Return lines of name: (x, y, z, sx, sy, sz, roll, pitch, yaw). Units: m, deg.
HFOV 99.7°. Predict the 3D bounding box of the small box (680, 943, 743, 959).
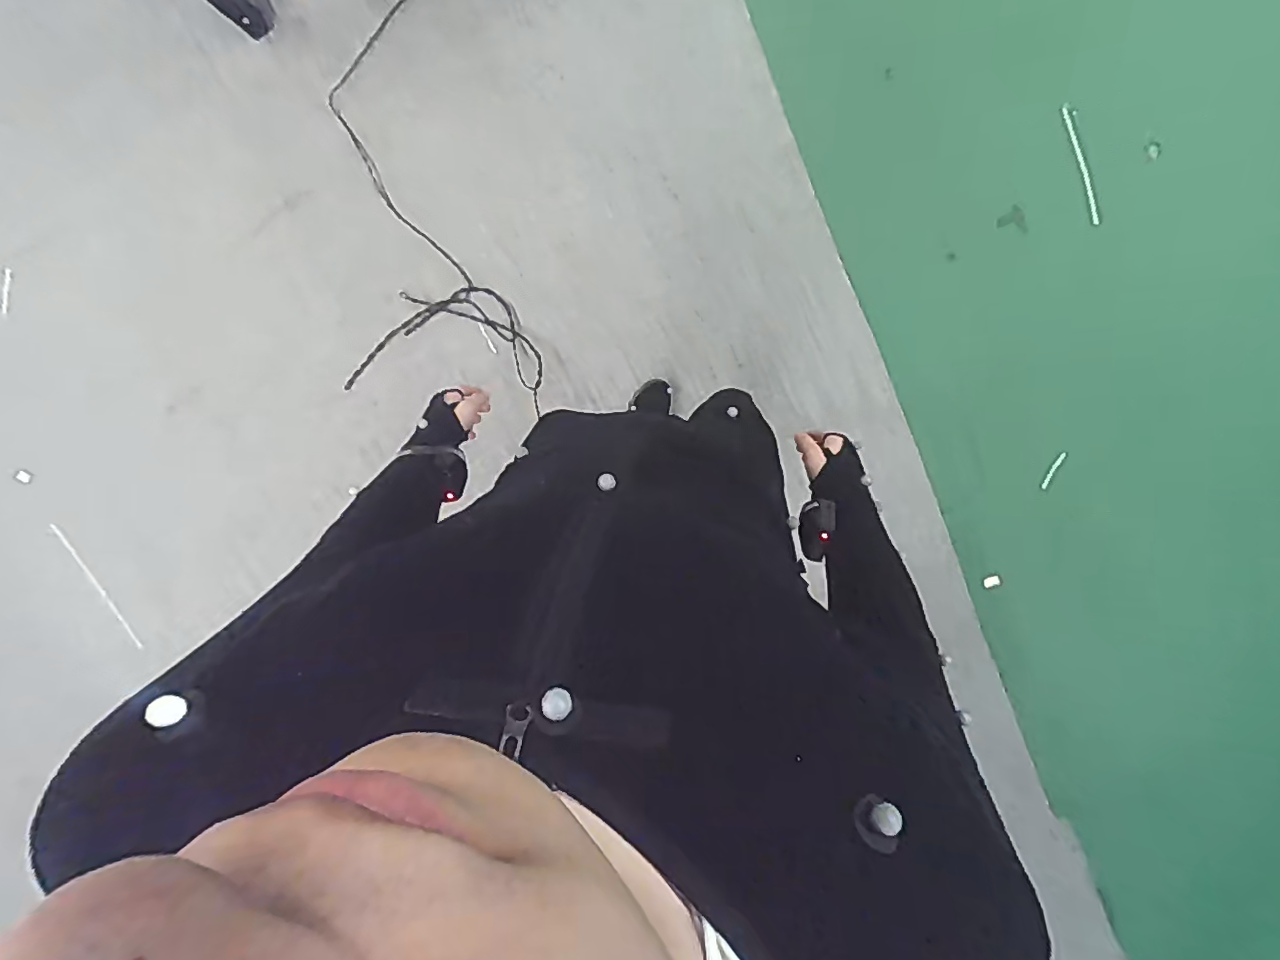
small box: (0.115, 0.928, 0.890, 0.179, 0.176, 0.168, -25, 101, 5)
